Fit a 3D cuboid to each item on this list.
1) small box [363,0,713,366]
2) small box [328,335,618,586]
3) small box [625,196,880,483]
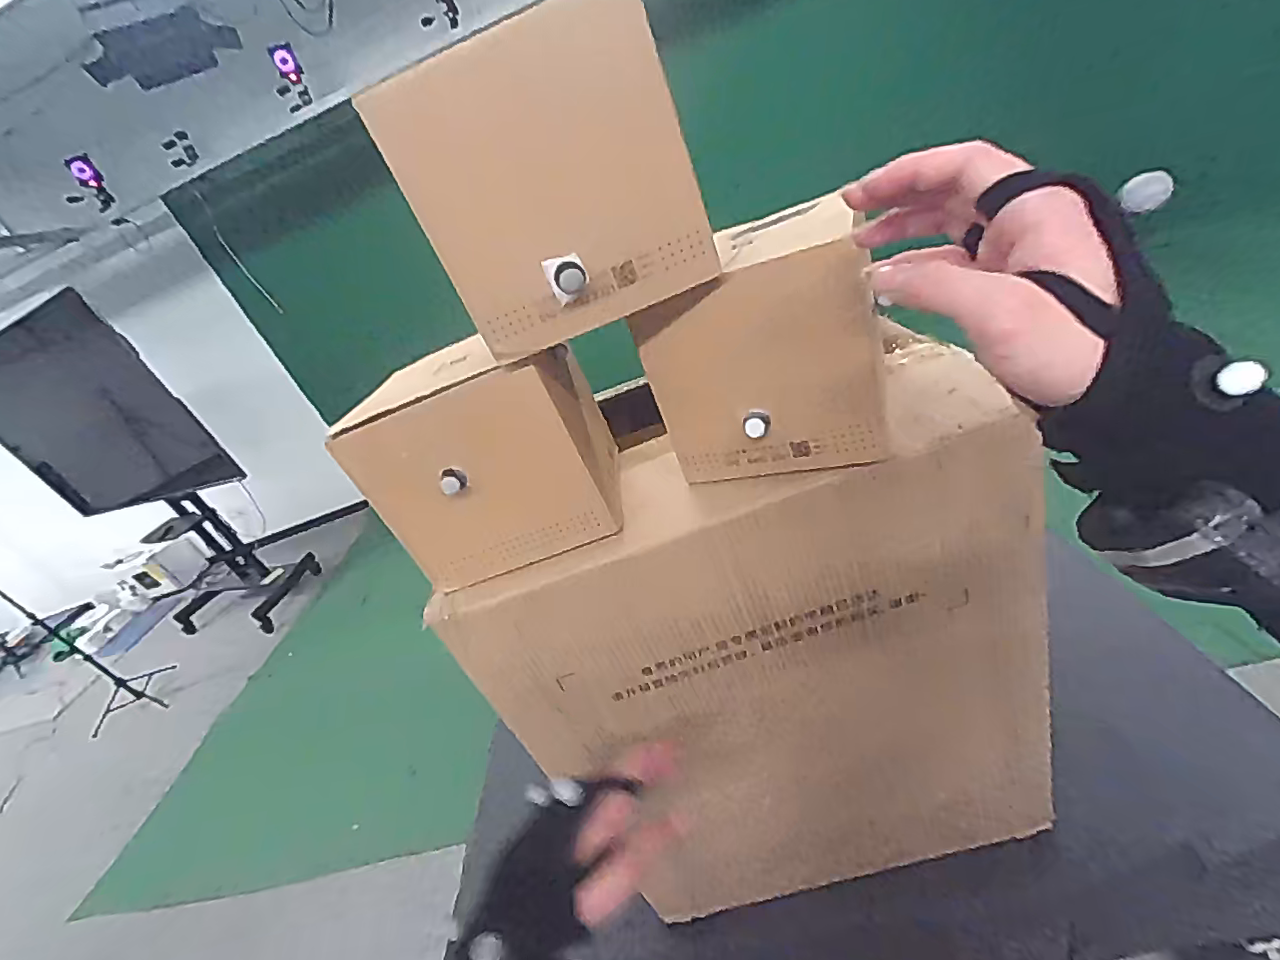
[{"bbox_3d":[-0.060,-0.206,0.406,0.168,0.176,0.179,-23,29,5],"label":"small box"},{"bbox_3d":[-0.134,-0.029,0.506,0.179,0.176,0.168,-21,29,8],"label":"small box"},{"bbox_3d":[0.107,-0.118,0.472,0.168,0.176,0.179,-8,32,28],"label":"small box"}]
